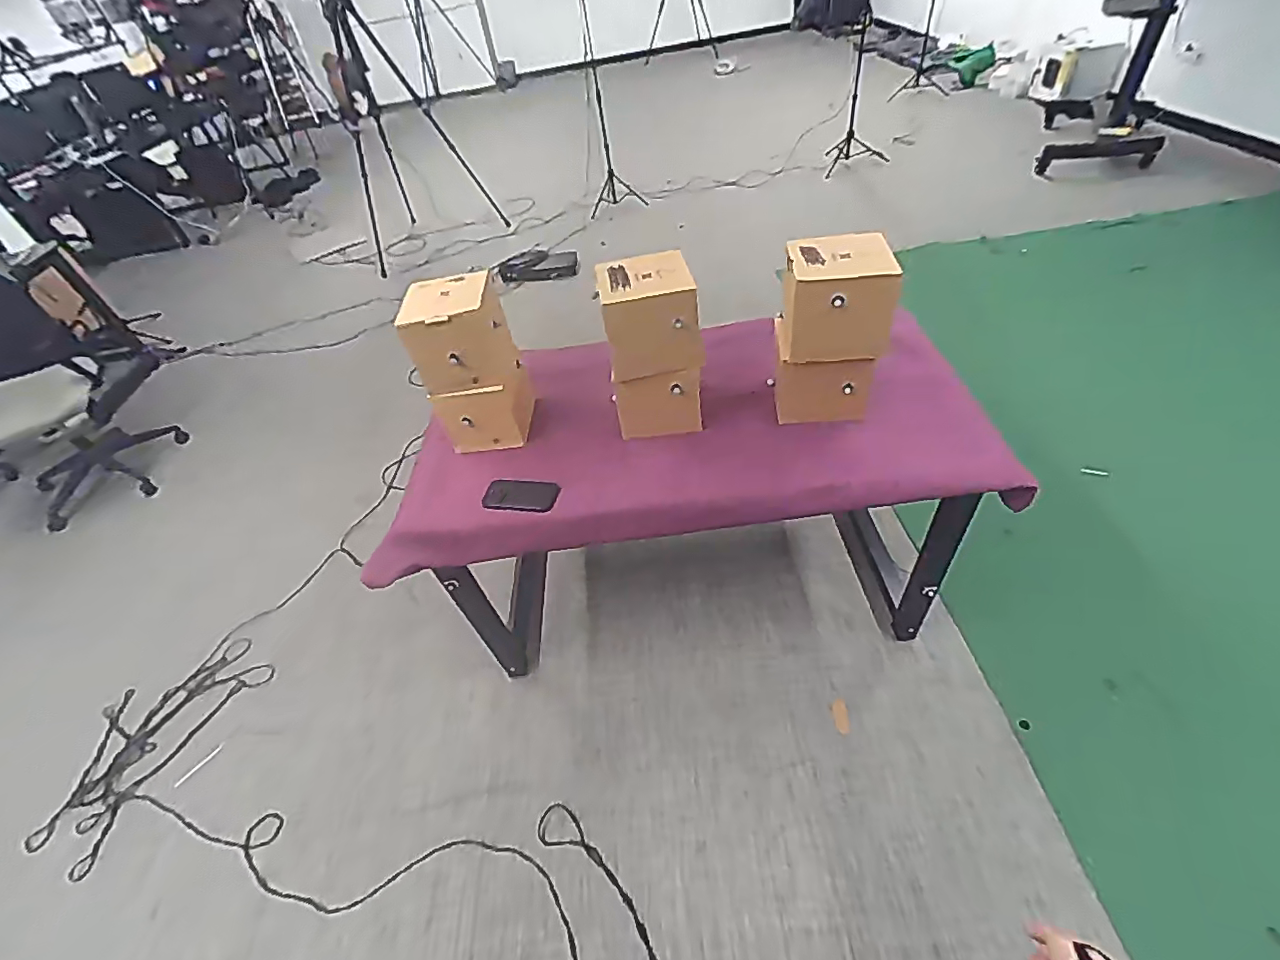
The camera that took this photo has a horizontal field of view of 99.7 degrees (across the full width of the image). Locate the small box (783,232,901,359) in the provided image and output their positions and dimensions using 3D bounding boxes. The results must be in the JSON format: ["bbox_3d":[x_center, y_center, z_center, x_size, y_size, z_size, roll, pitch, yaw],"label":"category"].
[{"bbox_3d":[0.365,-0.340,1.012,0.179,0.176,0.168,-1,46,9],"label":"small box"}]

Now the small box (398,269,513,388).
[{"bbox_3d":[-0.369,-0.305,1.117,0.168,0.176,0.179,-9,46,1],"label":"small box"}]

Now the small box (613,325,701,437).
[{"bbox_3d":[0.041,-0.214,1.179,0.179,0.176,0.168,-6,46,5],"label":"small box"}]

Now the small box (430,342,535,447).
[{"bbox_3d":[-0.346,-0.187,1.229,0.168,0.176,0.179,-6,46,5],"label":"small box"}]

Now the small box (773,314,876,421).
[{"bbox_3d":[0.378,-0.238,1.140,0.179,0.176,0.168,-1,46,10],"label":"small box"}]
